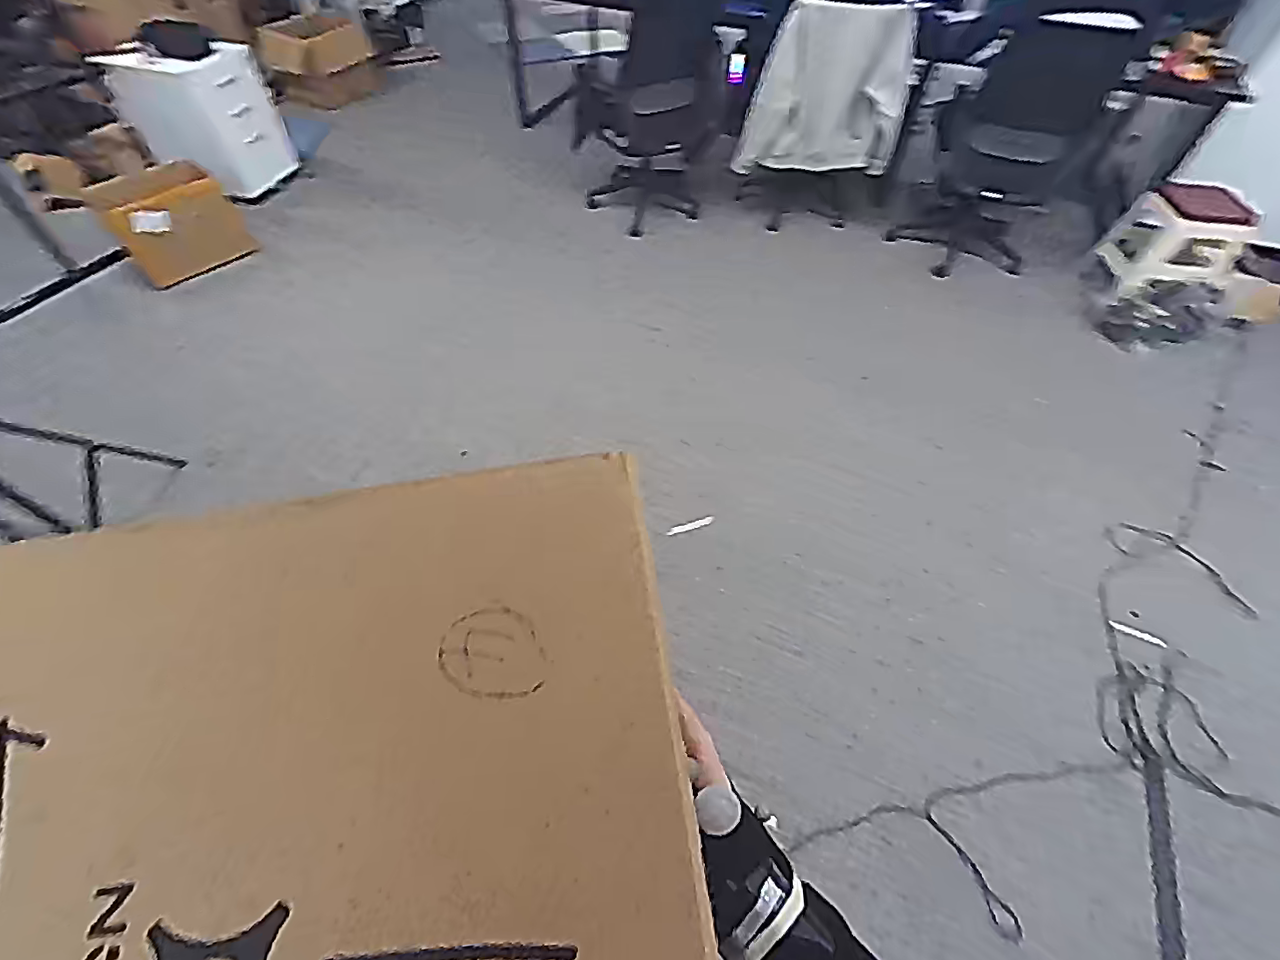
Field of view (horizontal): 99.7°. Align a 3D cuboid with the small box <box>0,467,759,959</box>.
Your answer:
[{"bbox_3d":[-0.063,0.114,0.162,0.179,0.176,0.168,-8,68,-1],"label":"small box"}]
